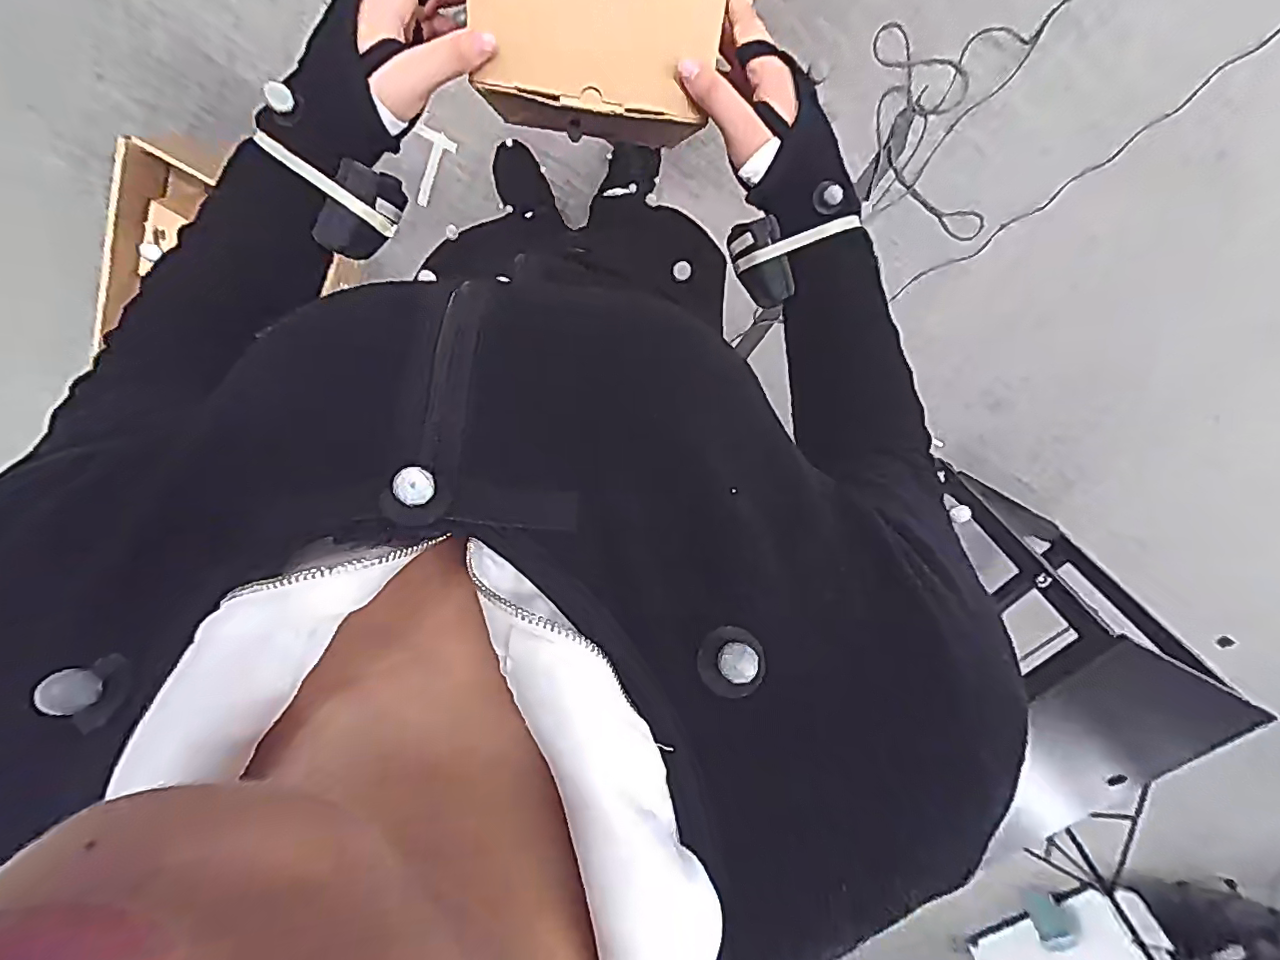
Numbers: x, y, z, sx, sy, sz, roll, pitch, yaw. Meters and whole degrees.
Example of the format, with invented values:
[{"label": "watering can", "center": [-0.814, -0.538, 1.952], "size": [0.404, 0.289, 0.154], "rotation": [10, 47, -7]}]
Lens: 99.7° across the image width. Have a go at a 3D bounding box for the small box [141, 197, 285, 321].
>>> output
[{"label": "small box", "center": [-0.906, -0.481, 1.163], "size": [0.179, 0.176, 0.168], "rotation": [28, 118, -22]}]
